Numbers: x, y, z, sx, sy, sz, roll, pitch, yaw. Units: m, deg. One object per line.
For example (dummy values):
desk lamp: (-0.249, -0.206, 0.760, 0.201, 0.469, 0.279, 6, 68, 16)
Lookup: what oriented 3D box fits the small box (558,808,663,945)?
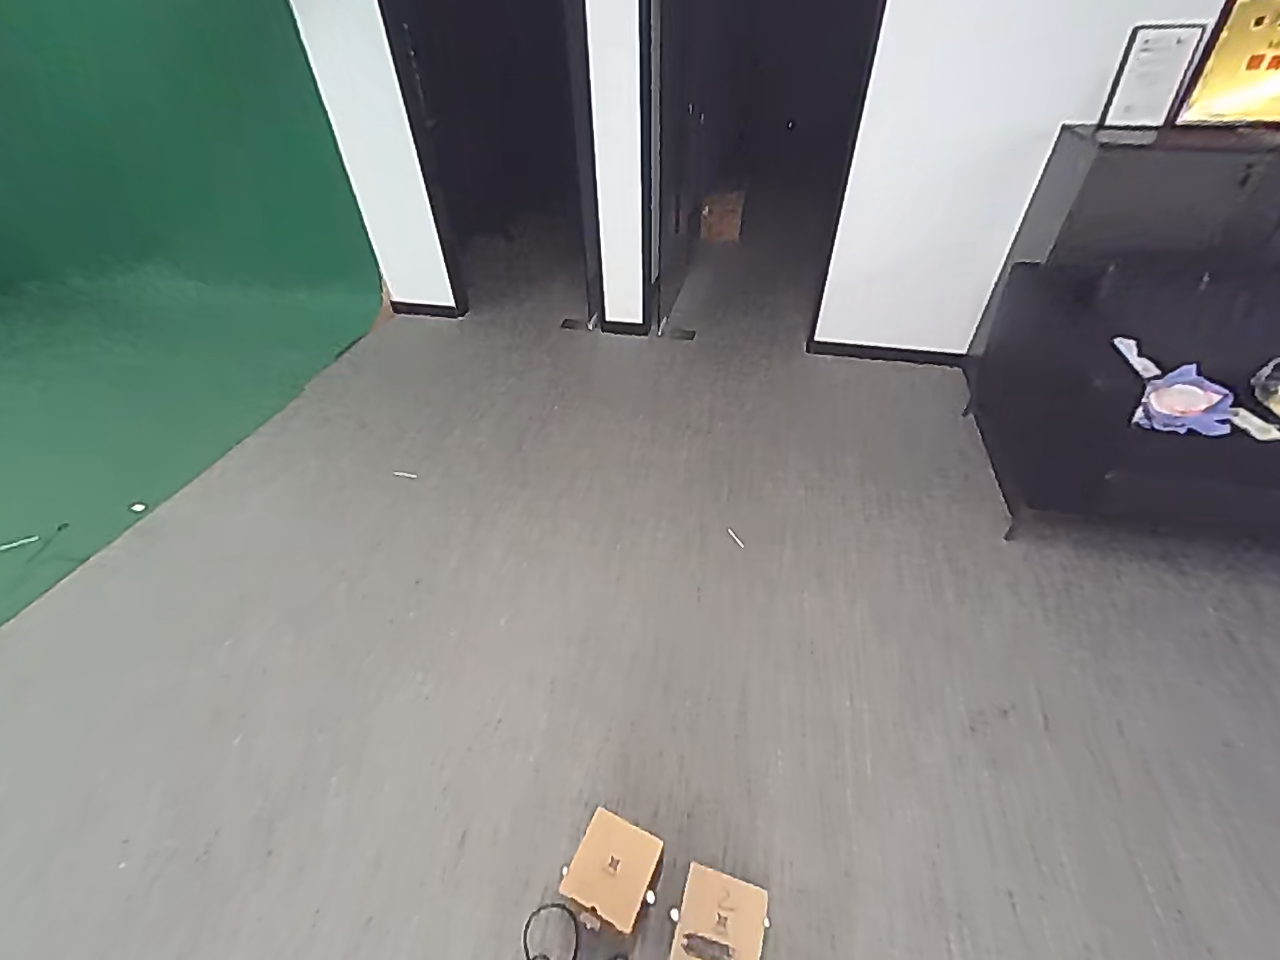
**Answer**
small box: (-0.060, 0.874, 1.193, 0.168, 0.176, 0.179, 17, 46, 20)
